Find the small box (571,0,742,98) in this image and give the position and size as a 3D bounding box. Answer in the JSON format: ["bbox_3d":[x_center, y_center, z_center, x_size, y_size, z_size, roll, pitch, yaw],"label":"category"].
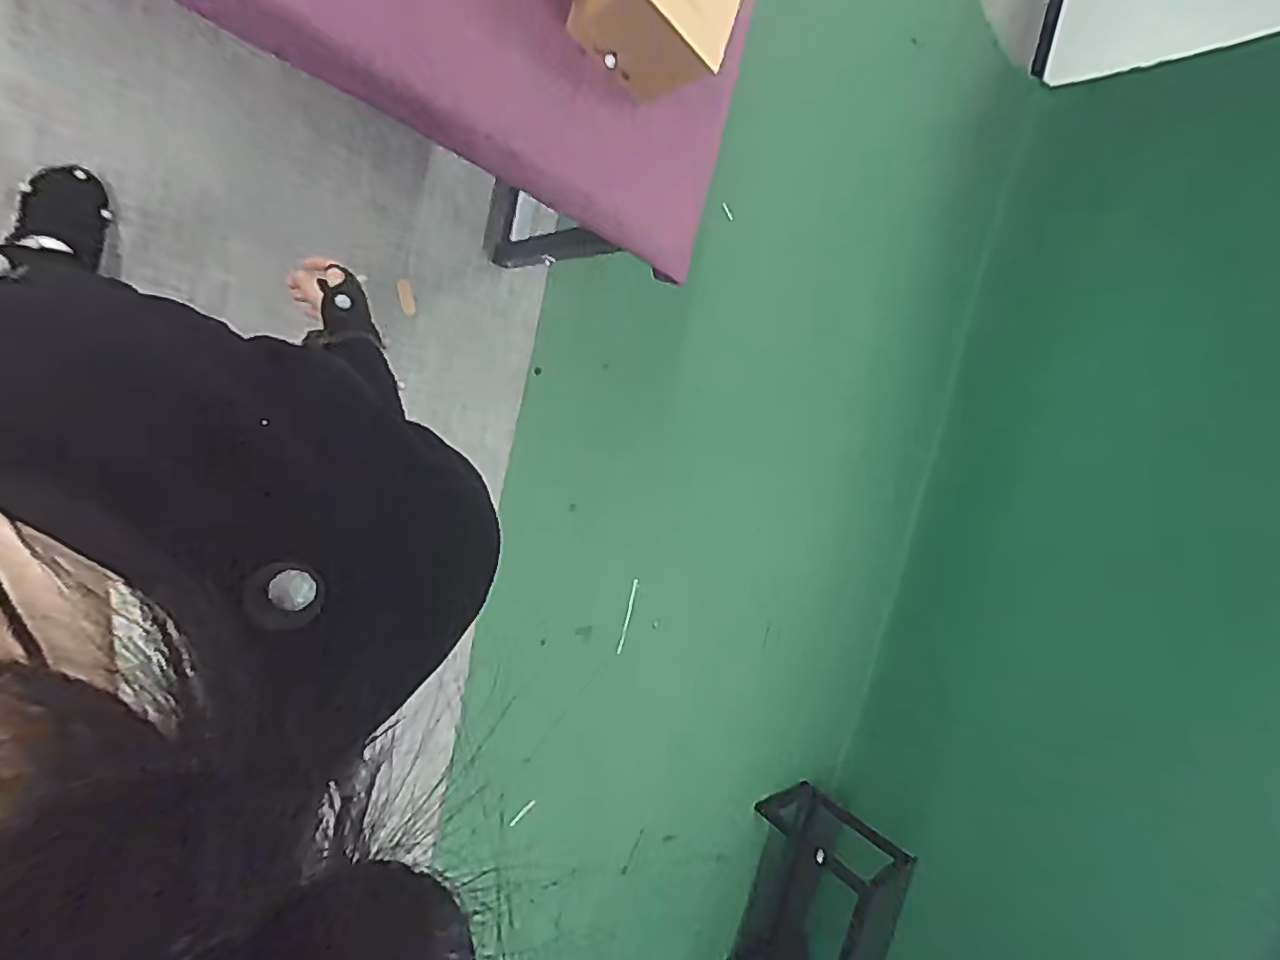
[{"bbox_3d":[0.027,-0.692,0.759,0.168,0.176,0.179,17,92,-42],"label":"small box"}]
